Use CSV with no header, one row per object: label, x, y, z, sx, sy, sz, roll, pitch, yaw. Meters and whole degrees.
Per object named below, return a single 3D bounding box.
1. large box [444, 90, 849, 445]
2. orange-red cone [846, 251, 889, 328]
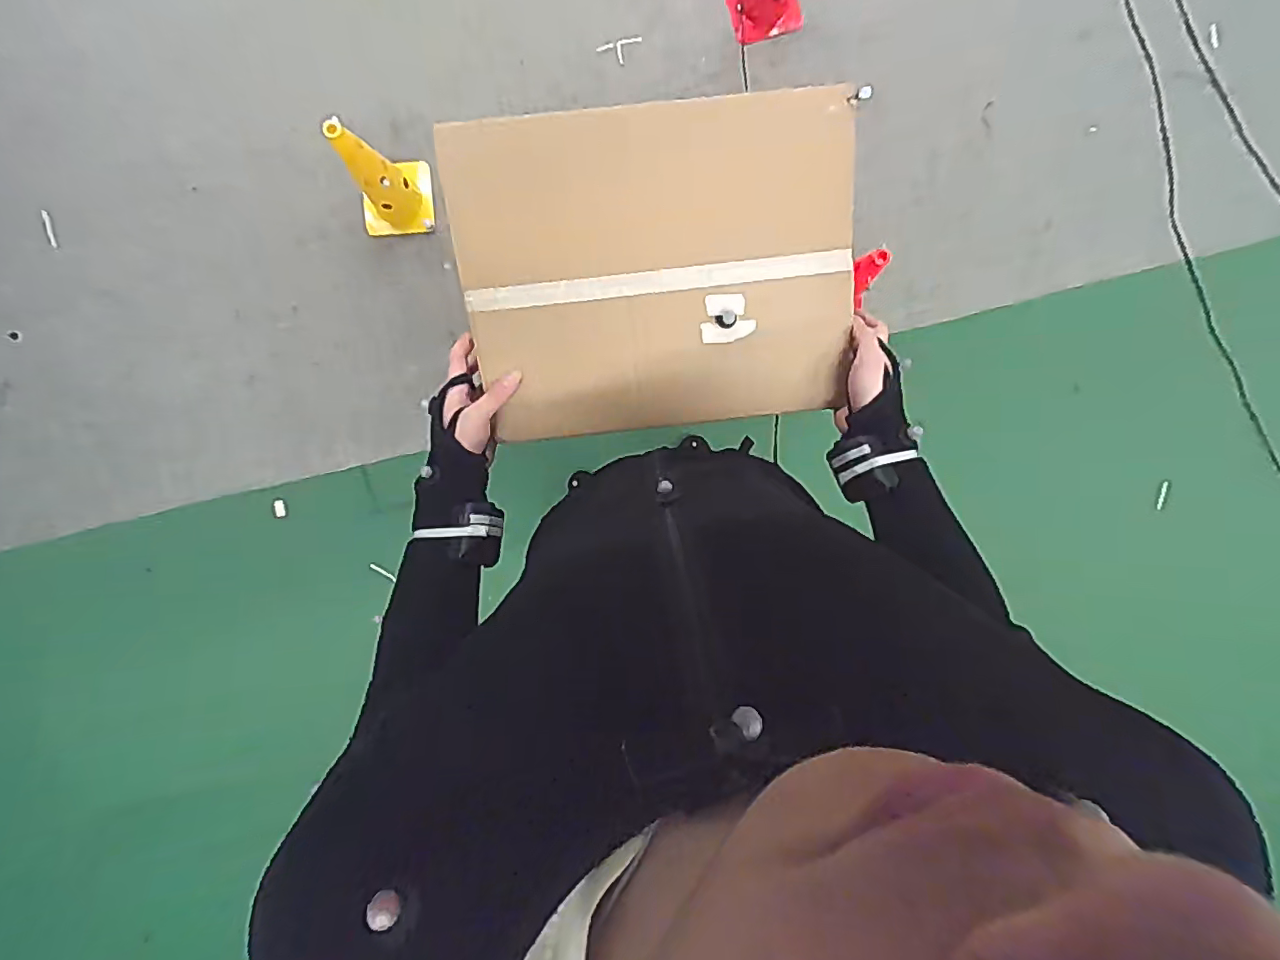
large box,0.013,-0.256,0.710,0.408,0.320,0.320,-7,110,-2
orange-red cone,0.563,-0.534,1.439,0.199,0.360,0.198,-7,95,-2
